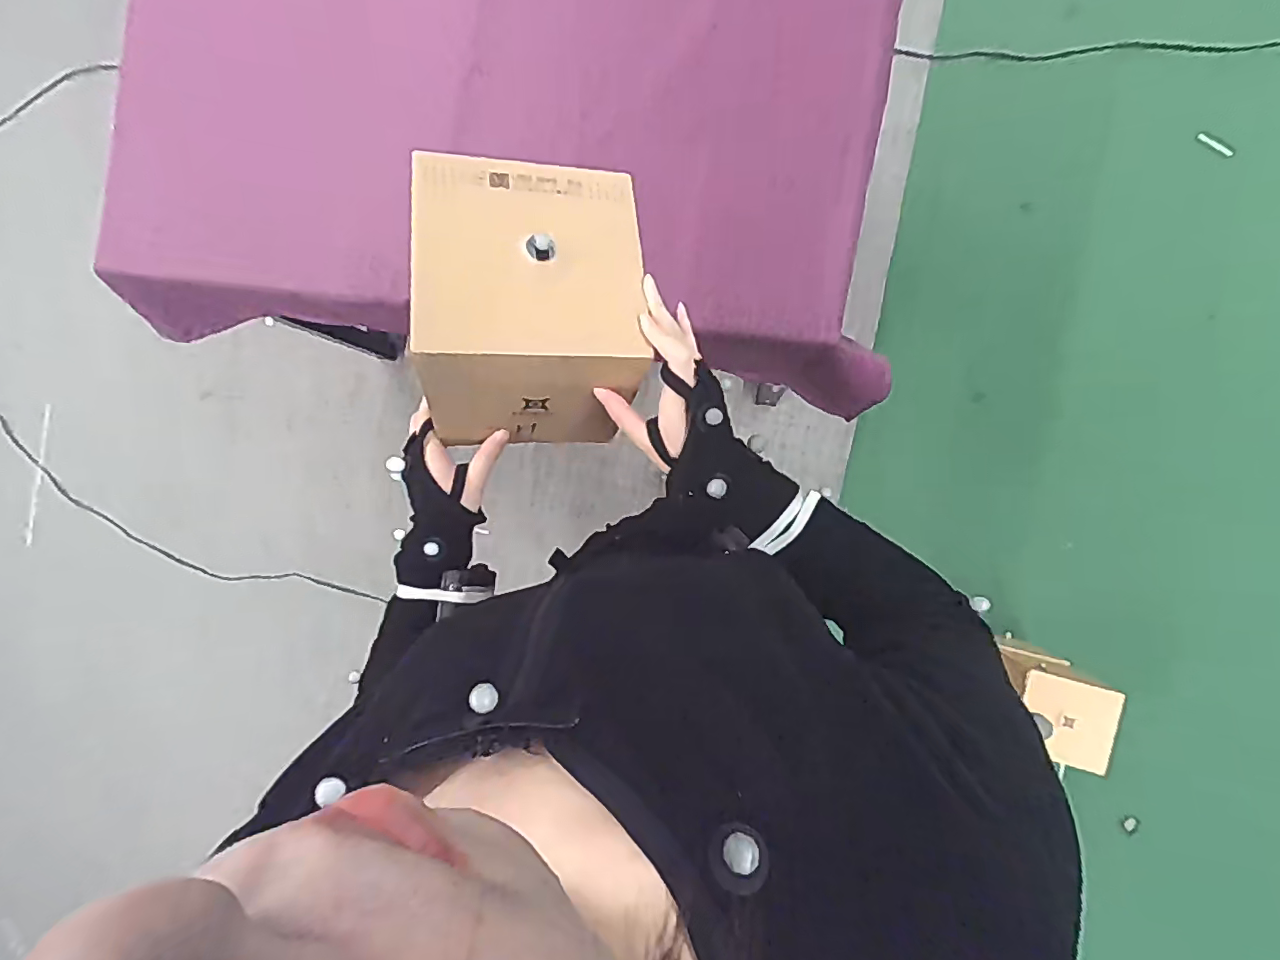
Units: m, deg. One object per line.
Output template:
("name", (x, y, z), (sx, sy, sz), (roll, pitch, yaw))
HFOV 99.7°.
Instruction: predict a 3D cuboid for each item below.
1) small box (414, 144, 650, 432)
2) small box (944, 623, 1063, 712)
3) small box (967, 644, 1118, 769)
("small box", (-0.098, -0.151, 0.469), (0.168, 0.179, 0.176), (-1, 74, -14))
("small box", (0.859, 0.464, 1.297), (0.168, 0.176, 0.179), (14, 91, 8))
("small box", (0.832, 0.464, 1.136), (0.179, 0.176, 0.168), (14, 92, 9))
